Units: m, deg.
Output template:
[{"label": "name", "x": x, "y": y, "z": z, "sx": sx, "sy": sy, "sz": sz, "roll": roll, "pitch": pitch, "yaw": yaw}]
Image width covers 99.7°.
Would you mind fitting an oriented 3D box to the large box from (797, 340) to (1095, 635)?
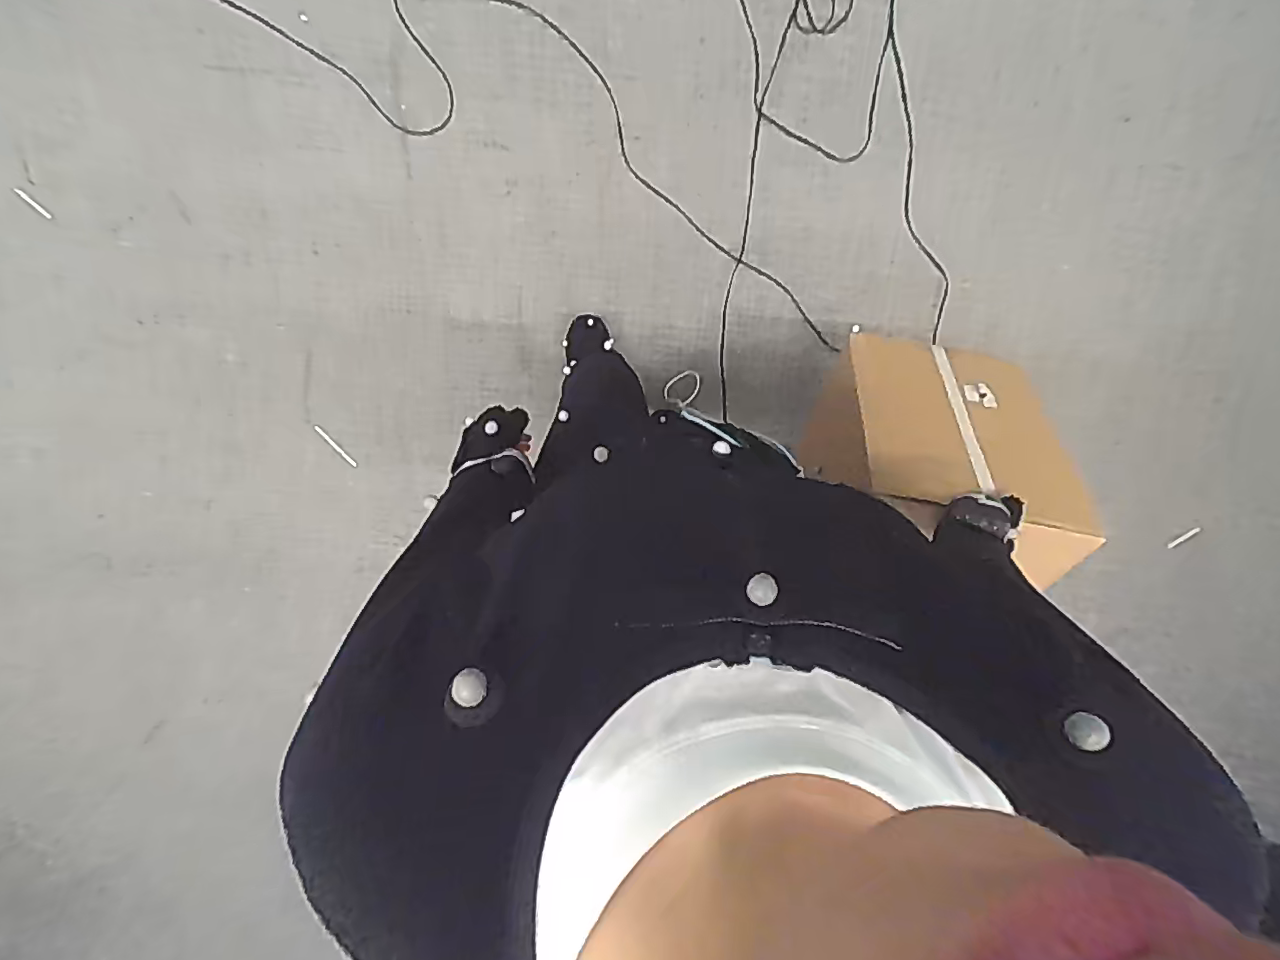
[{"label": "large box", "x": 0.482, "y": 0.009, "z": 0.971, "sx": 0.320, "sy": 0.408, "sz": 0.320, "roll": 12, "pitch": 137, "yaw": 2}]
